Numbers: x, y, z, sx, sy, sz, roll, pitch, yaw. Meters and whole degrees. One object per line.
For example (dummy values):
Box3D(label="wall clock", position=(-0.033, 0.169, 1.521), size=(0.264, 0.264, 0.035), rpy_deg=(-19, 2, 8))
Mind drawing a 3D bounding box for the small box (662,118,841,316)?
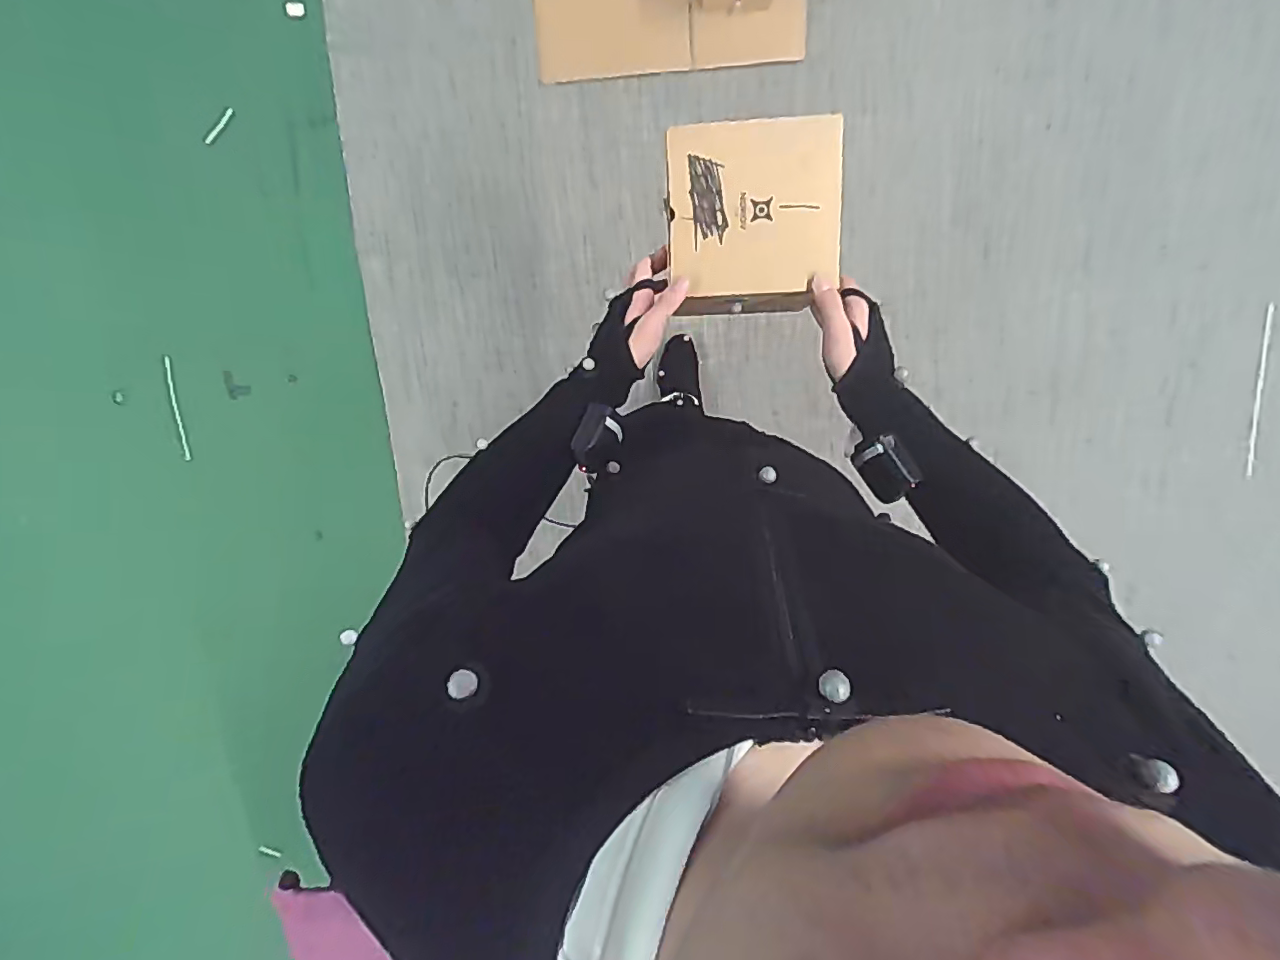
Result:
Box3D(label="small box", position=(0.117, -0.286, 0.624), size=(0.179, 0.176, 0.168), rpy_deg=(-1, 100, 4))

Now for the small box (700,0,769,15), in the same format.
Box3D(label="small box", position=(0.237, -1.255, 1.289), size=(0.179, 0.176, 0.168), rpy_deg=(0, 101, 3))
